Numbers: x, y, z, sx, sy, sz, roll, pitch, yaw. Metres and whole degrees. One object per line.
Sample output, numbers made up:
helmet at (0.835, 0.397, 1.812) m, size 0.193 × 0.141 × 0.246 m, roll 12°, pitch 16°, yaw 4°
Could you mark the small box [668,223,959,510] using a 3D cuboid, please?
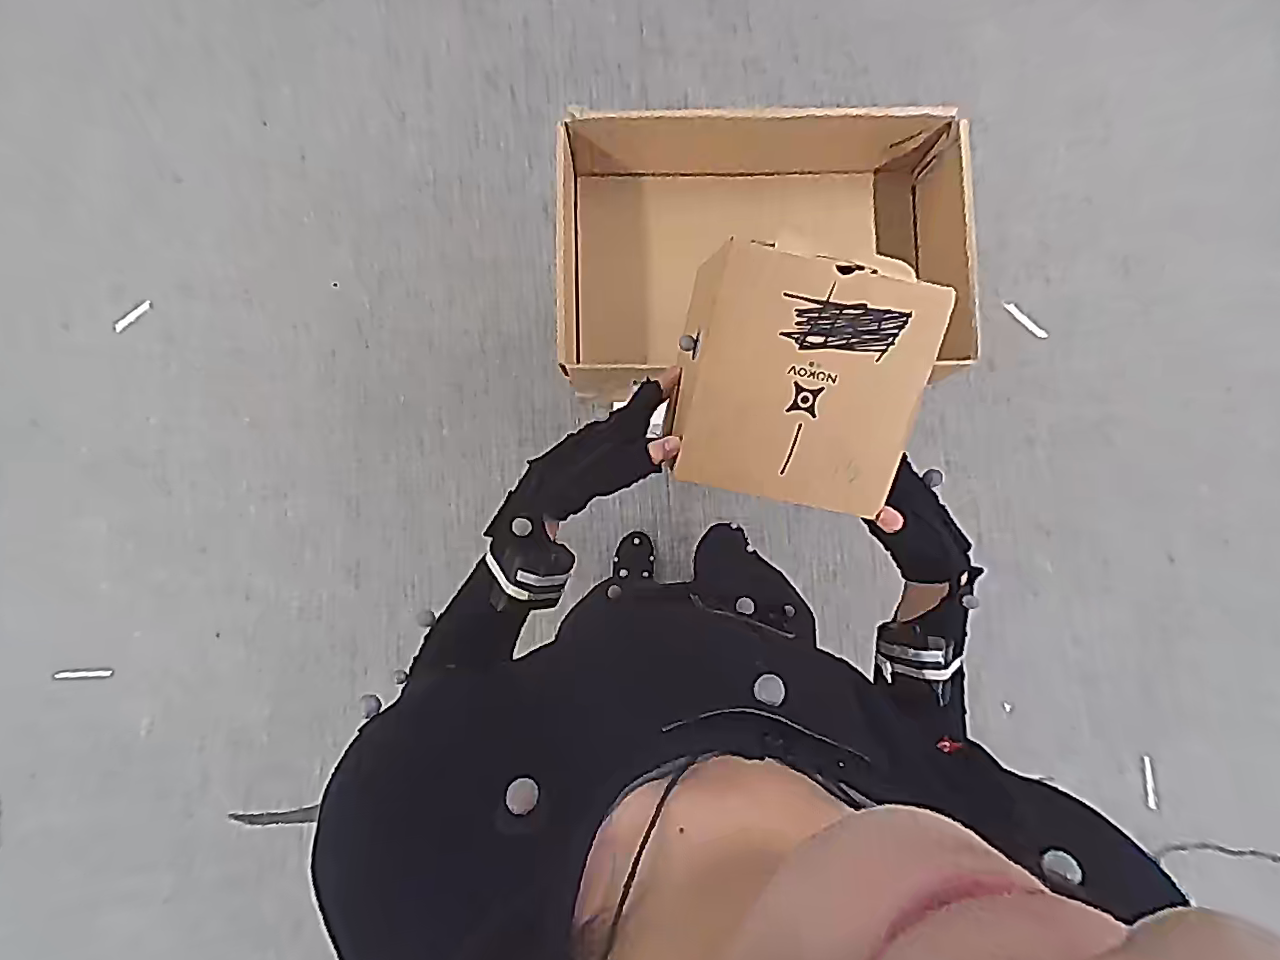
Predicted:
small box at (0.123, -0.094, 0.465) m, size 0.168 × 0.176 × 0.179 m, roll 12°, pitch 104°, yaw -5°
